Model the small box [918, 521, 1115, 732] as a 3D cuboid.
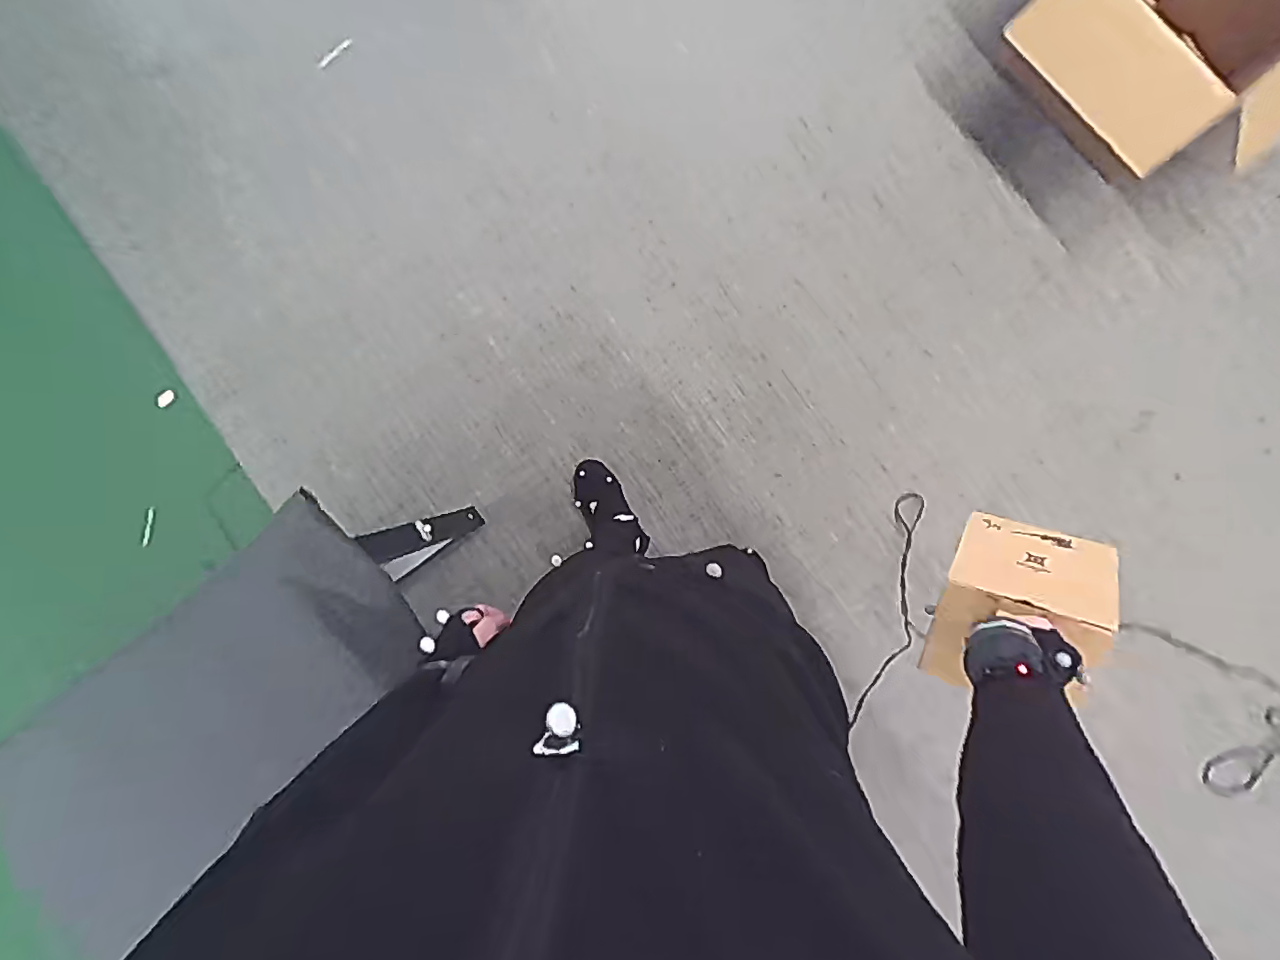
[{"bbox_3d":[0.486,0.185,0.710,0.168,0.179,0.176,21,125,33],"label":"small box"}]
